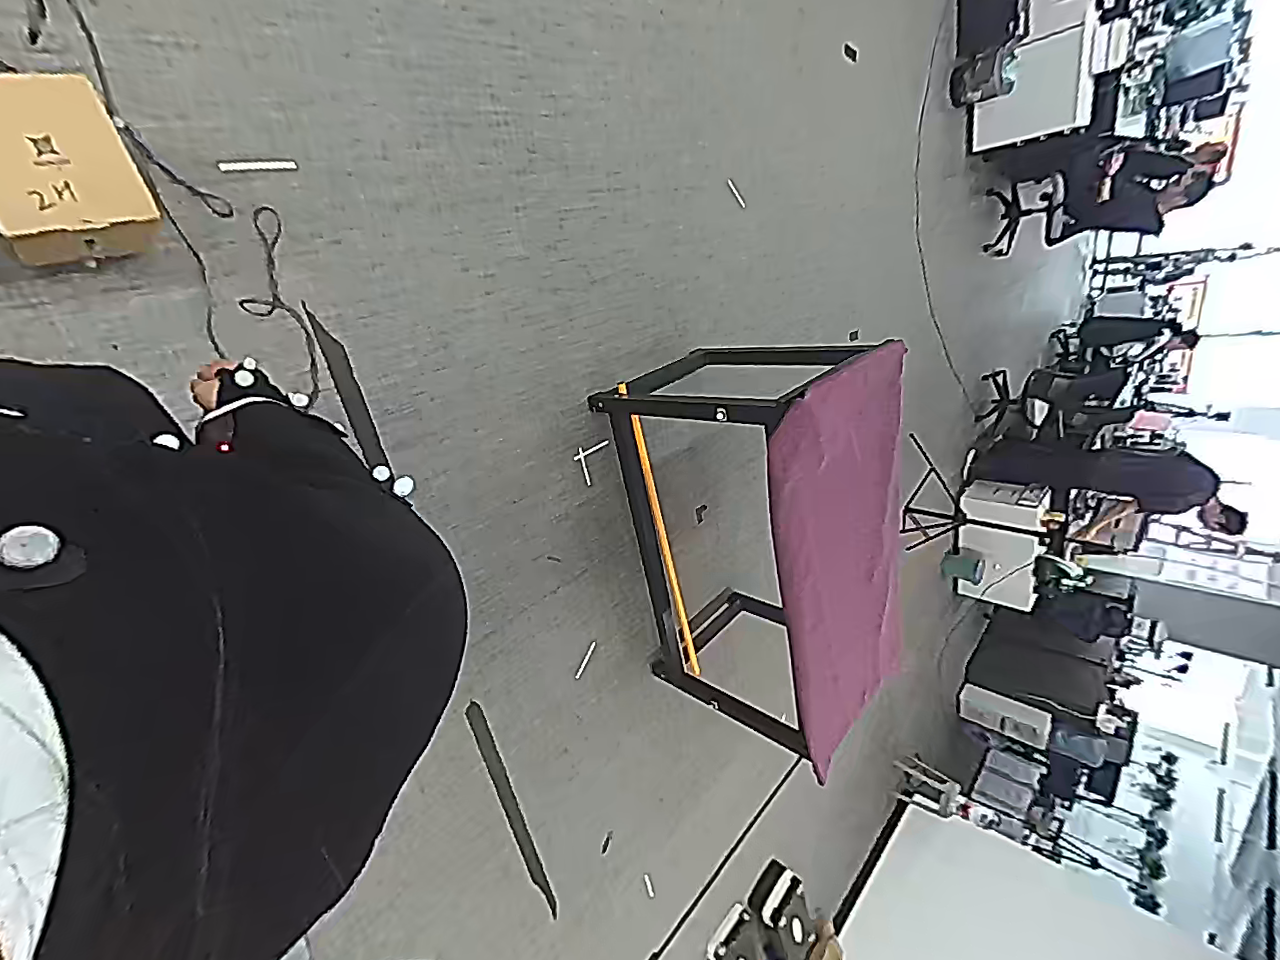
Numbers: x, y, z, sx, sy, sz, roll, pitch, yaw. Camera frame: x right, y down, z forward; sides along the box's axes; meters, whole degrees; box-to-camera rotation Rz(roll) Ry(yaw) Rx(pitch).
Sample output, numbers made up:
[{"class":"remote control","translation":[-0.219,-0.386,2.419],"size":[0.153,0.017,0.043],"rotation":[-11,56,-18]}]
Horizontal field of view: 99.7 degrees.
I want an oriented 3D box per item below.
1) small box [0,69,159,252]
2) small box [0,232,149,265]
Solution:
[{"class":"small box","translation":[-0.807,-0.426,0.736],"size":[0.168,0.176,0.179],"rotation":[-32,120,-36]},{"class":"small box","translation":[-0.924,-0.450,0.850],"size":[0.168,0.176,0.179],"rotation":[-30,120,-37]}]
